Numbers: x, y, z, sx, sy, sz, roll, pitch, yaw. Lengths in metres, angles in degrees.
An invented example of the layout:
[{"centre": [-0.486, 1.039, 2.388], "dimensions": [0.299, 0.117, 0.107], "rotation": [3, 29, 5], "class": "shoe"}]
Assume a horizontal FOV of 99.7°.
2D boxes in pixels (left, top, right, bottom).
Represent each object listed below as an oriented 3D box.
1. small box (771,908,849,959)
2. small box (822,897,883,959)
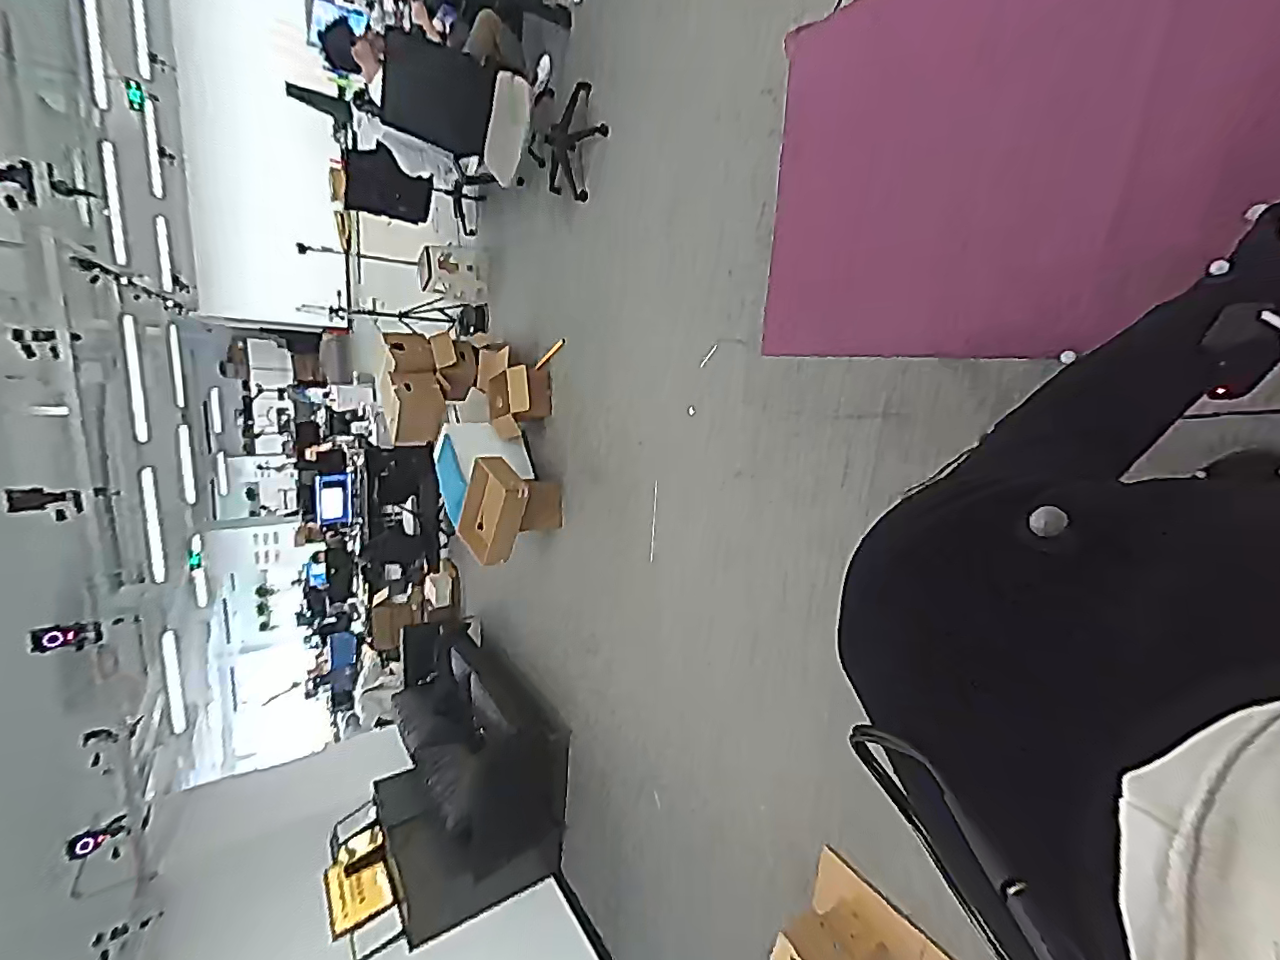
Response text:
[{"centre": [0.577, 1.612, 1.830], "dimensions": [0.168, 0.176, 0.179], "rotation": [34, 122, 49], "class": "small box"}, {"centre": [0.727, 1.634, 1.906], "dimensions": [0.168, 0.176, 0.179], "rotation": [28, 118, 51], "class": "small box"}]
